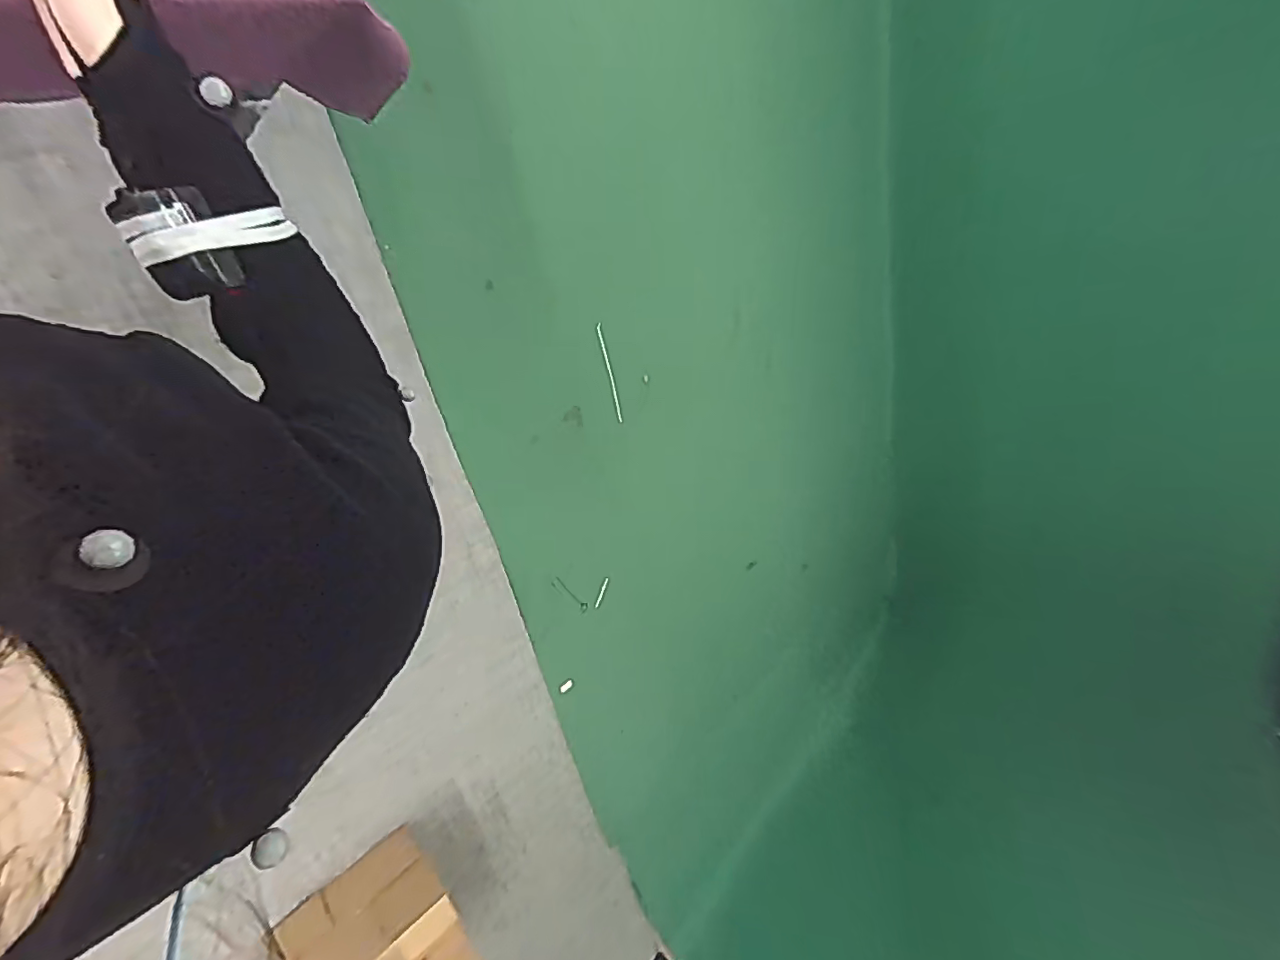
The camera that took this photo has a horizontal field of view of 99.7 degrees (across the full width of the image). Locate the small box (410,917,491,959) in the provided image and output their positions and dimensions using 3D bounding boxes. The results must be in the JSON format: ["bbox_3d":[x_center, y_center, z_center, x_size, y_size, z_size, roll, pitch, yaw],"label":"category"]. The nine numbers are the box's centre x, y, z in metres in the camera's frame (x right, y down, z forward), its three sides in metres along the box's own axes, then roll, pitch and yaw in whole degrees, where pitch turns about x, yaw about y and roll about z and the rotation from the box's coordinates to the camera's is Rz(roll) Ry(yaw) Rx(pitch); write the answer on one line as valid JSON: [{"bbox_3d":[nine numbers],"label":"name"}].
[{"bbox_3d":[-0.491,1.328,1.434,0.168,0.176,0.179,-26,119,-40],"label":"small box"}]
